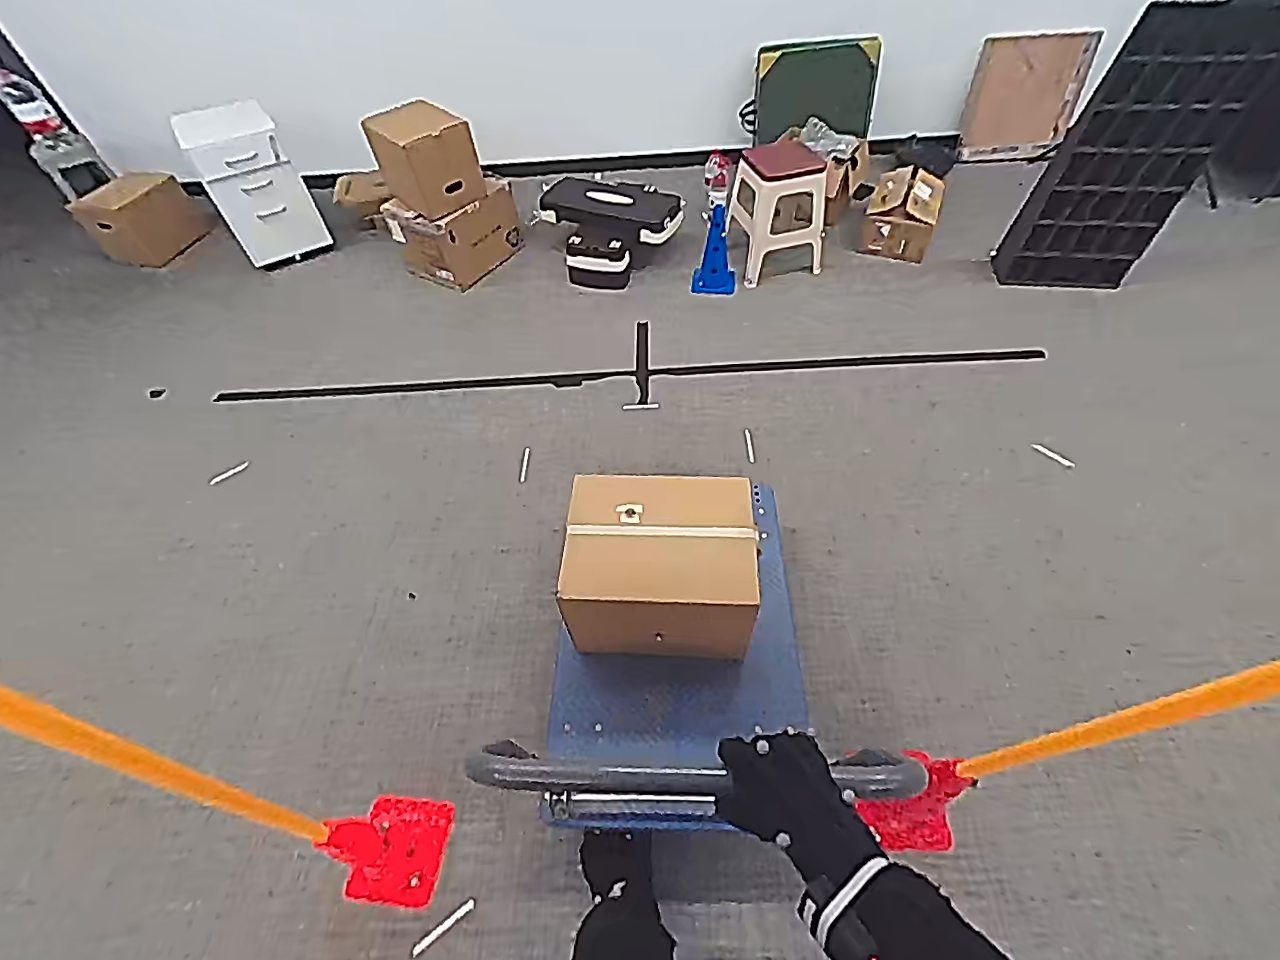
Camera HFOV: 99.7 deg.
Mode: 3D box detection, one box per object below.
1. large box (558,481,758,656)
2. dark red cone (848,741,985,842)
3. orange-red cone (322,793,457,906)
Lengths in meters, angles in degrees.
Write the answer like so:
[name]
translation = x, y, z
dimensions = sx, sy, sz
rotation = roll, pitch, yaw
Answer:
[large box]
translation = 0.050, 0.215, 1.274
dimensions = 0.408, 0.320, 0.320
rotation = 0, 53, 5
[dark red cone]
translation = 0.584, 0.600, 1.093
dimensions = 0.201, 0.394, 0.202
rotation = -1, 52, 1
[orange-red cone]
translation = -0.543, 0.728, 1.099
dimensions = 0.198, 0.360, 0.199
rotation = 4, 51, 6
